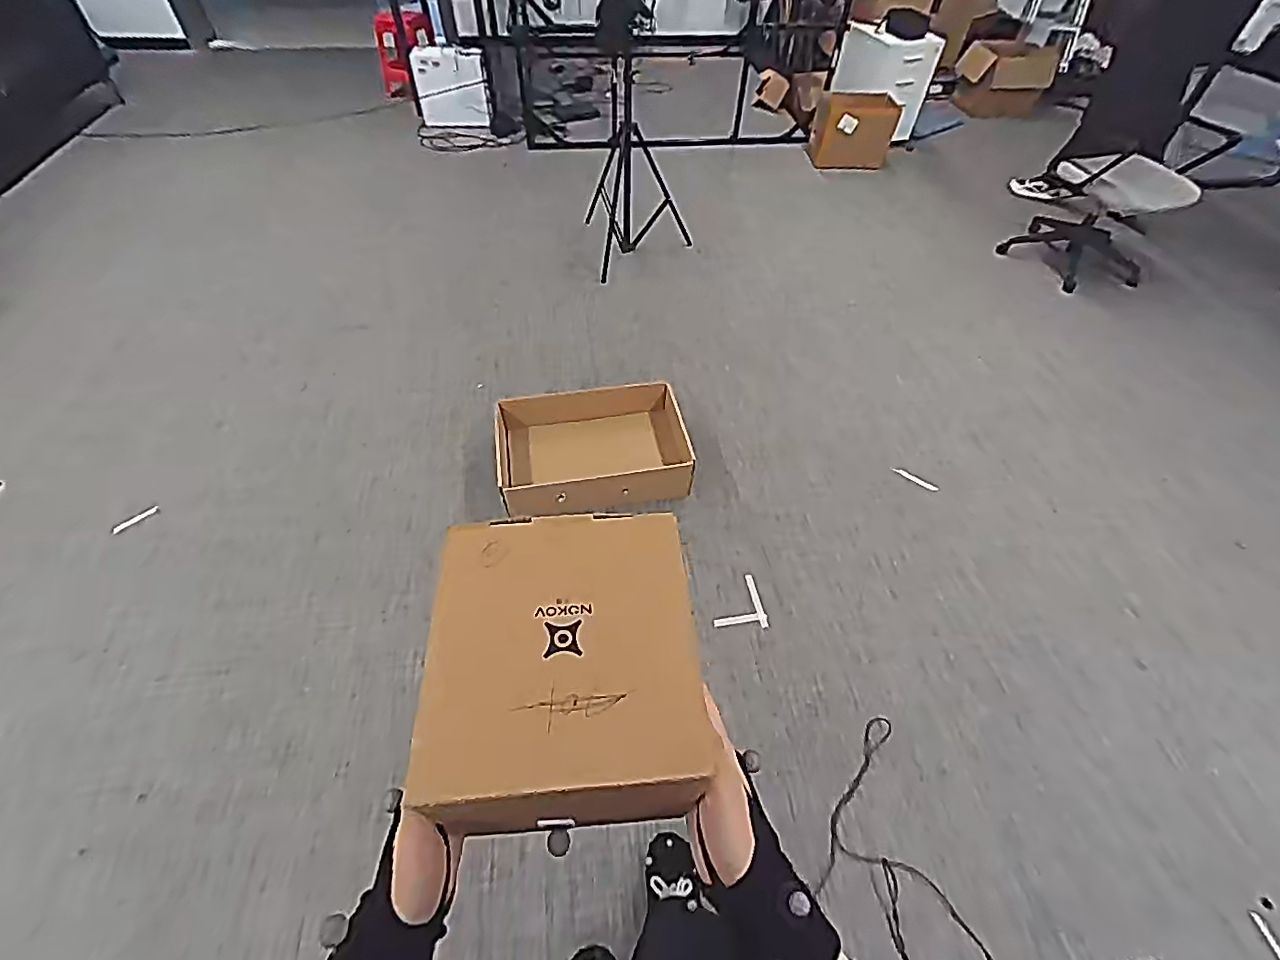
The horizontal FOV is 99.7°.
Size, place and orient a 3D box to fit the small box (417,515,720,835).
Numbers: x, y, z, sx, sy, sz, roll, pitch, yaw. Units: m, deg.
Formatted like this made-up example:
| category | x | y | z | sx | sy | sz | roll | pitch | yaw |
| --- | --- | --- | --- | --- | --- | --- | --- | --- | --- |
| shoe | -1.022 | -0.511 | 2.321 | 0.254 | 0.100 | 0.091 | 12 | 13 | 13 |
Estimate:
| category | x | y | z | sx | sy | sz | roll | pitch | yaw |
| --- | --- | --- | --- | --- | --- | --- | --- | --- | --- |
| small box | -0.047 | 0.145 | 0.402 | 0.168 | 0.176 | 0.179 | -3 | 52 | -5 |
